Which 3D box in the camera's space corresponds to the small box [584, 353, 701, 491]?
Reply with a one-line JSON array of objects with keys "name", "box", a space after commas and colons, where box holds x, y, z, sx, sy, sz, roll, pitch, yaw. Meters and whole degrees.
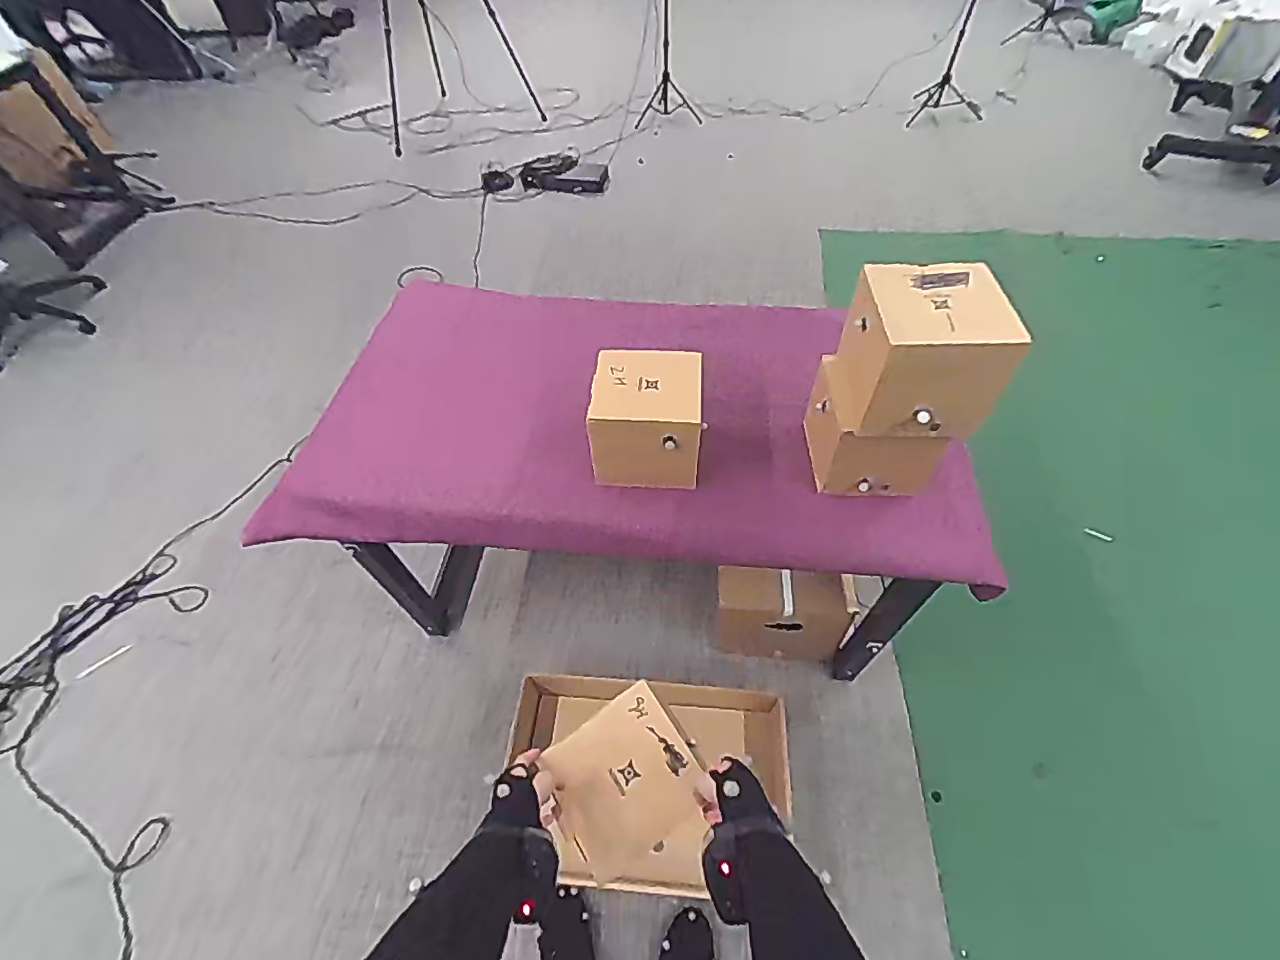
[{"name": "small box", "box": [0.011, -0.095, 0.917, 0.179, 0.176, 0.168, 2, 51, 5]}]

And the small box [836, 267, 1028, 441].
[{"name": "small box", "box": [0.385, -0.175, 0.755, 0.168, 0.176, 0.179, 0, 52, 5]}]

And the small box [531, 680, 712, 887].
[{"name": "small box", "box": [-0.014, 0.401, 0.737, 0.179, 0.176, 0.168, -34, 65, -7]}]

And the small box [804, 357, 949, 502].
[{"name": "small box", "box": [0.377, -0.083, 0.893, 0.168, 0.176, 0.179, 0, 51, 5]}]
